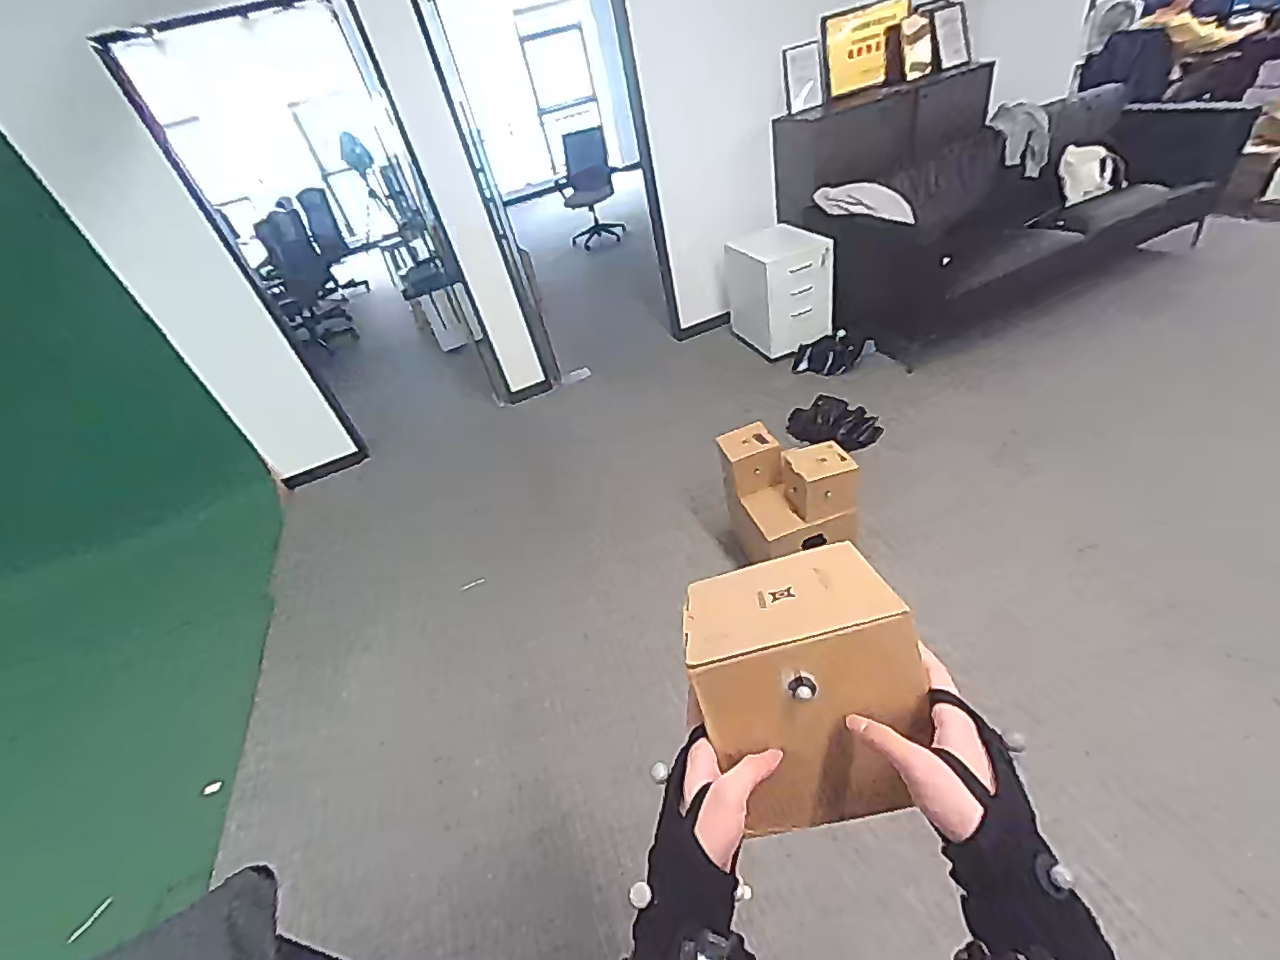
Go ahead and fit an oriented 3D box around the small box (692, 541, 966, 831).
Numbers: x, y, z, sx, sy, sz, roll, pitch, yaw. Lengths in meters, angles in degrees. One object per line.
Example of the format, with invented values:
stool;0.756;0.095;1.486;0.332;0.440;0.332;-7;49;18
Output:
small box;0.154;0.176;0.486;0.179;0.176;0.168;-16;9;7

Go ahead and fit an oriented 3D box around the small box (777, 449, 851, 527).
small box;0.562;0.030;1.754;0.179;0.176;0.168;-16;36;-5

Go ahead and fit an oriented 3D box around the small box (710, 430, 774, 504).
small box;0.366;-0.044;1.913;0.179;0.176;0.168;-19;37;-3
